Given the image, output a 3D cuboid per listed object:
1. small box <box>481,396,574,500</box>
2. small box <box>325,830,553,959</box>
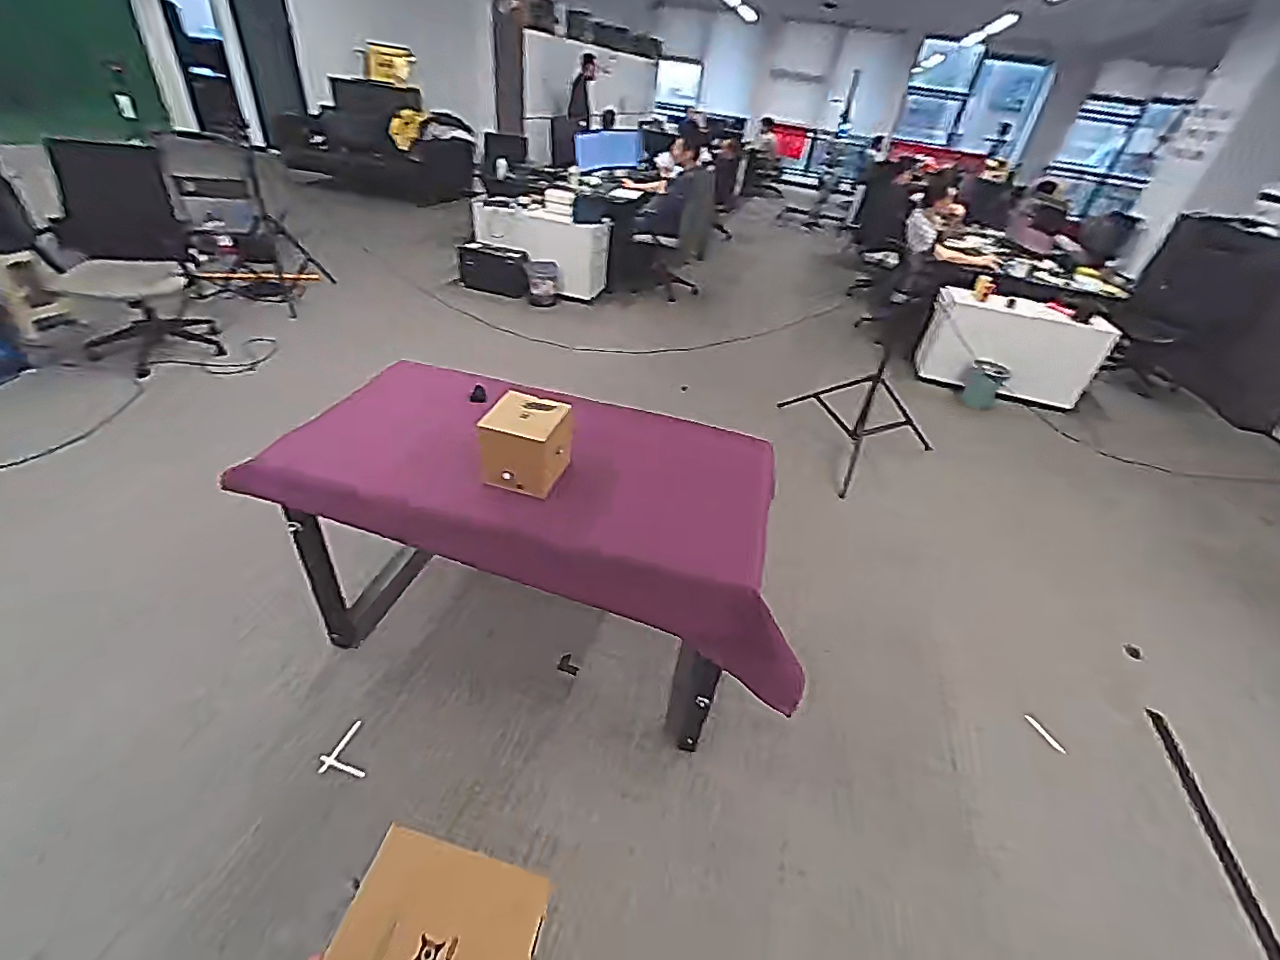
[{"bbox_3d":[-0.271,-0.079,1.320,0.168,0.176,0.179,14,37,8],"label":"small box"},{"bbox_3d":[-0.204,0.486,0.530,0.179,0.176,0.168,18,36,0],"label":"small box"}]
